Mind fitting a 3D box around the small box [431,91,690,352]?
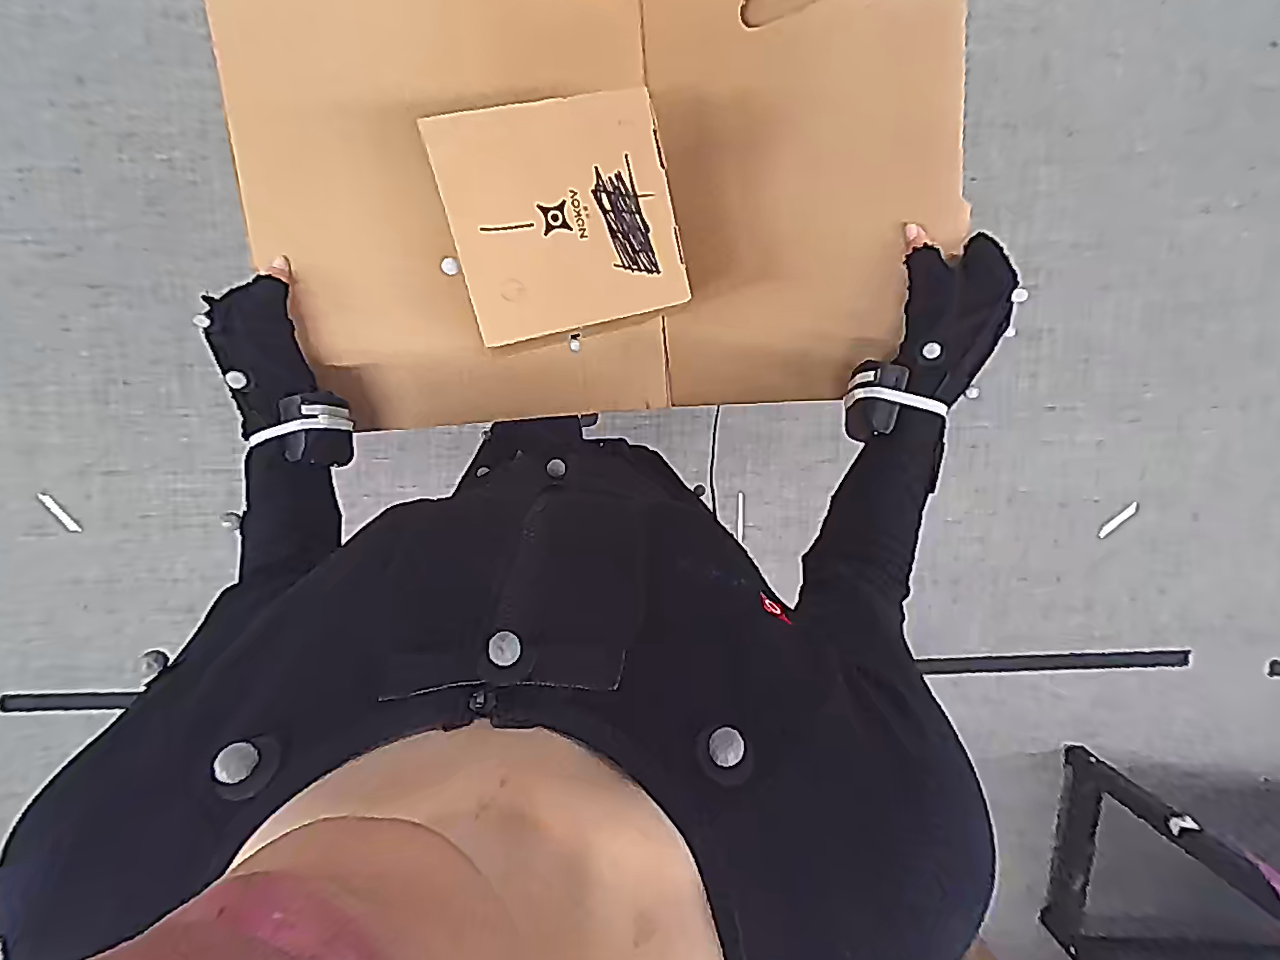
[{"bbox_3d":[-0.075,-0.222,0.504,0.179,0.176,0.168,-16,102,-10],"label":"small box"}]
